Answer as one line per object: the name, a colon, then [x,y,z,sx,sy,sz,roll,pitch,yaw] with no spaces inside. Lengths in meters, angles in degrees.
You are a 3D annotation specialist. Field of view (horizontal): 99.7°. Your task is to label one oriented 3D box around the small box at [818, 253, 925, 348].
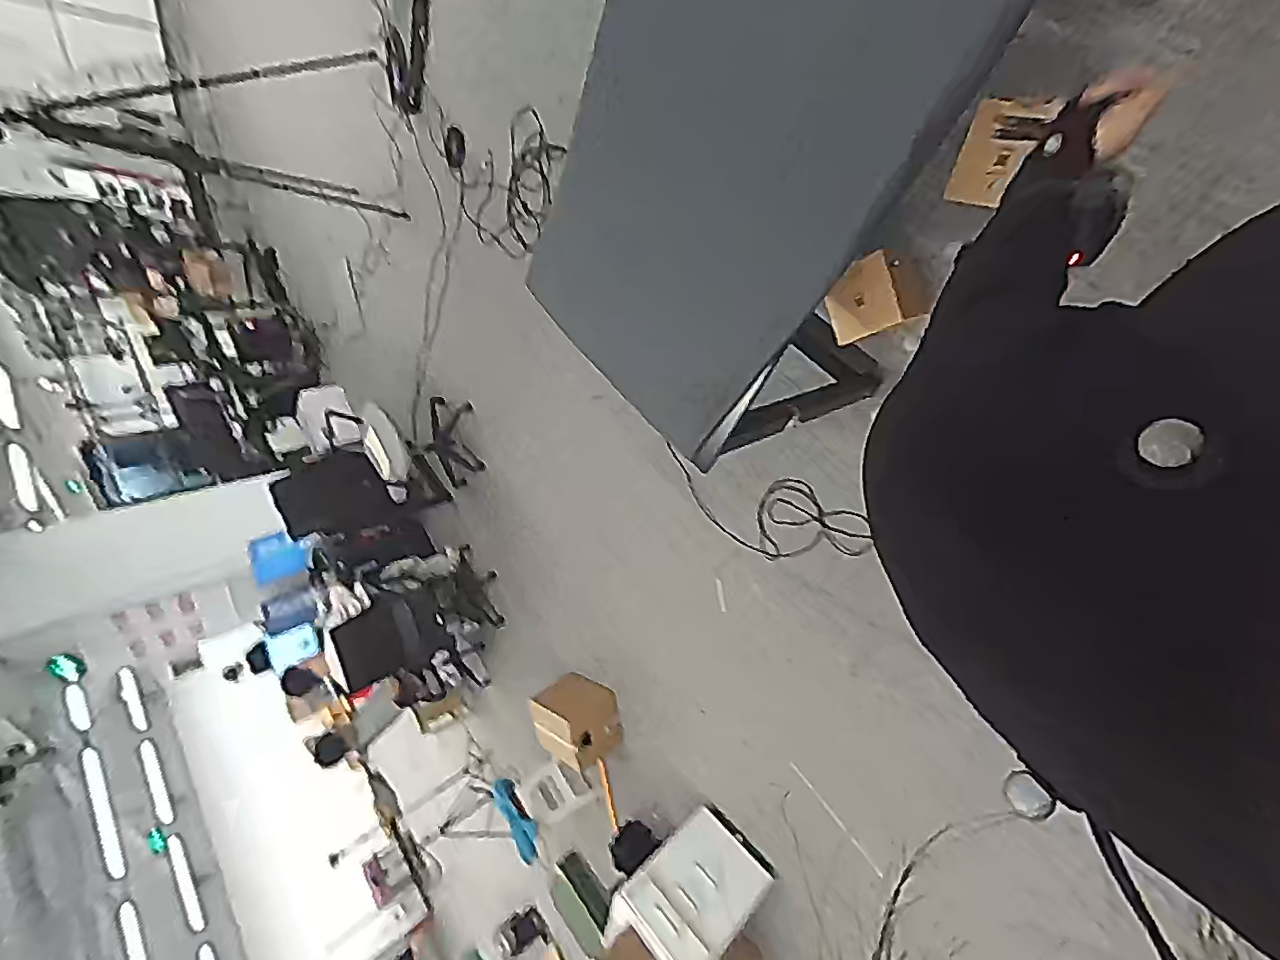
small box: [0.579,-0.448,1.346,0.168,0.176,0.179,-16,93,50]
